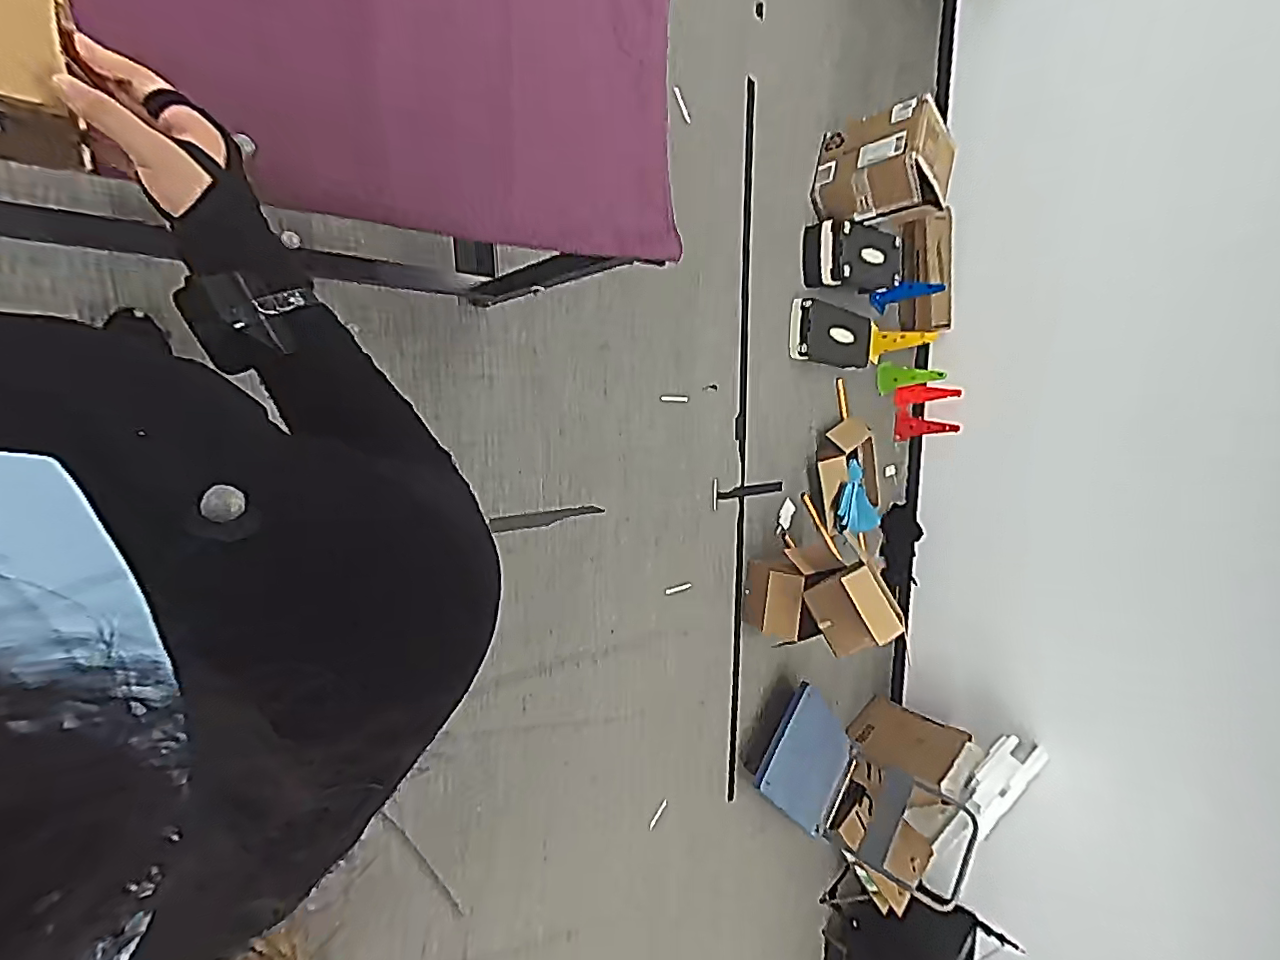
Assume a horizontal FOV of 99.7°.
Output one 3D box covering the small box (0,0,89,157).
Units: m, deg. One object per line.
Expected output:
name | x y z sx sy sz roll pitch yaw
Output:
small box | -0.462 -0.317 0.320 0.179 0.176 0.168 -9 106 -43
